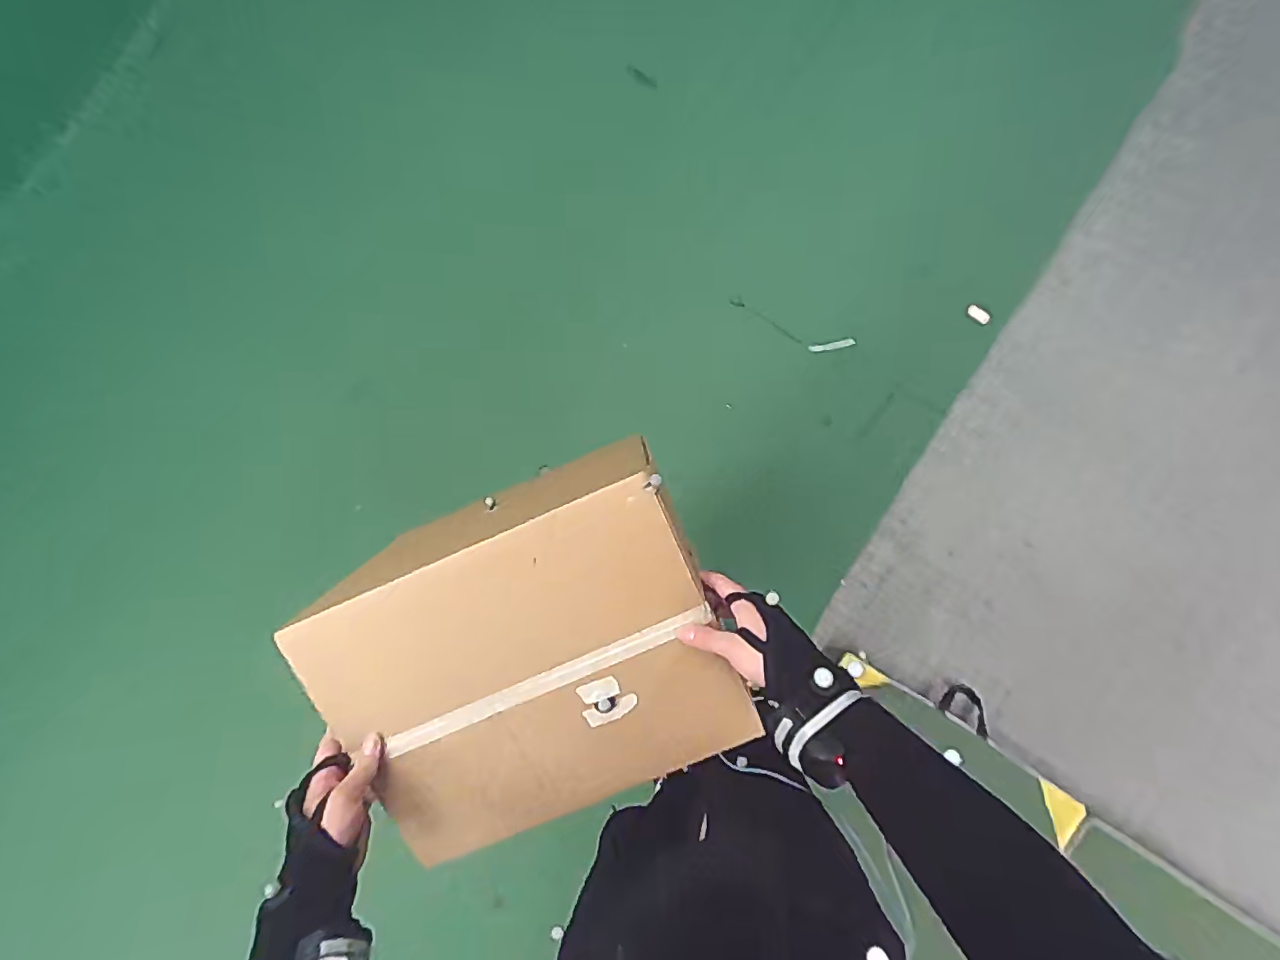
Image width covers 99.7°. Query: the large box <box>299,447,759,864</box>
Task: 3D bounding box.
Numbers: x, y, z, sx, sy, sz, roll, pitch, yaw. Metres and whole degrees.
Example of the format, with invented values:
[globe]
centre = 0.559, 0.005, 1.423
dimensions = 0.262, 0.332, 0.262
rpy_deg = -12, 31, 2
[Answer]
[large box]
centre = -0.115, 0.188, 0.712
dimensions = 0.408, 0.320, 0.320
rpy_deg = -23, 102, 3
